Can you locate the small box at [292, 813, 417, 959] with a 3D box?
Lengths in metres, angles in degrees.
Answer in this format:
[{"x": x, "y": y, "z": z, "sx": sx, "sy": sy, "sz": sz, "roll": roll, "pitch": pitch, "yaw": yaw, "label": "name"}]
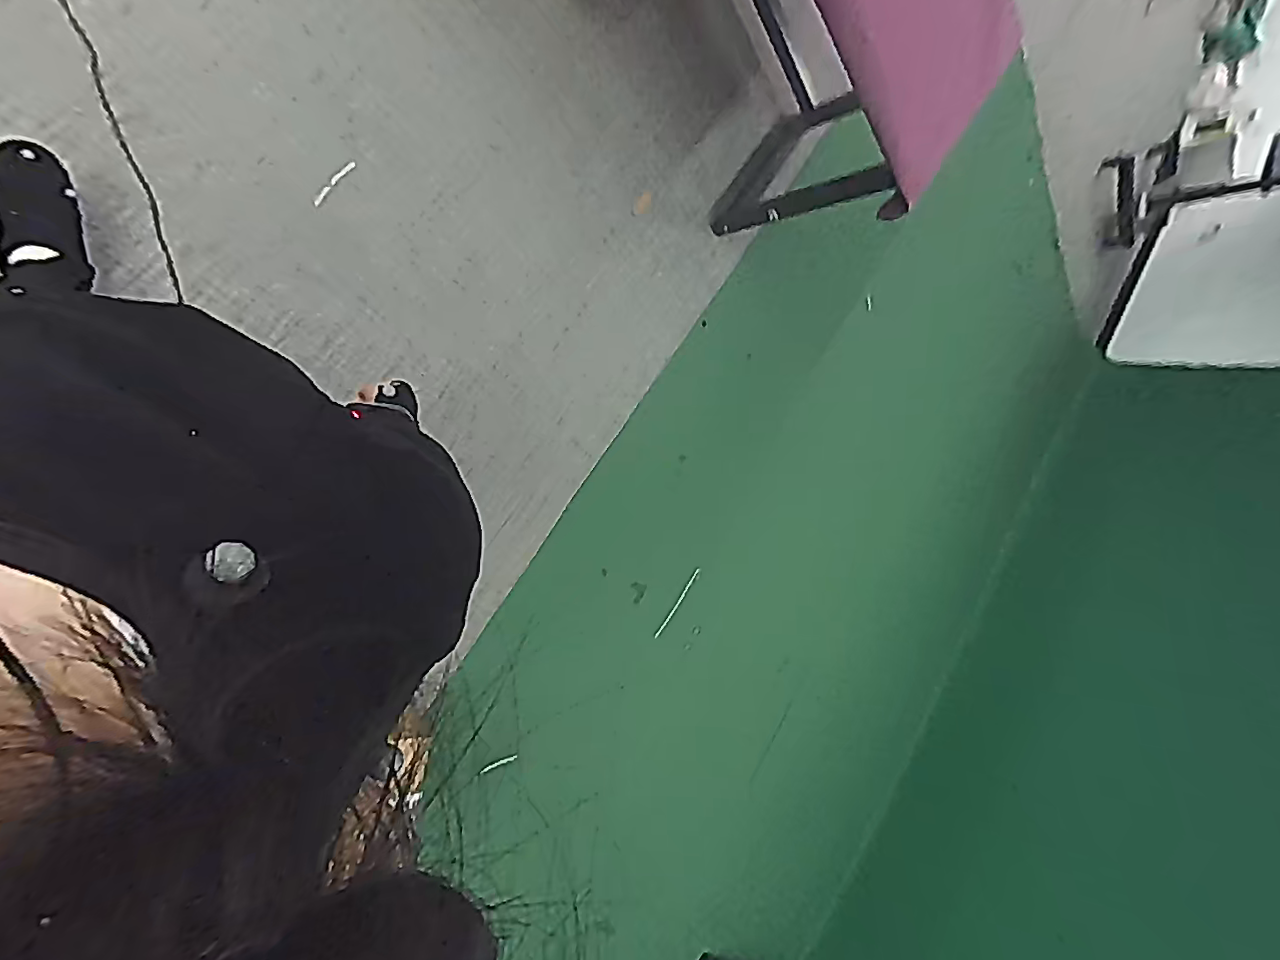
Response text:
[{"x": -0.526, "y": 0.758, "z": 0.987, "sx": 0.168, "sy": 0.176, "sz": 0.179, "roll": 8, "pitch": 94, "yaw": -38, "label": "small box"}]
